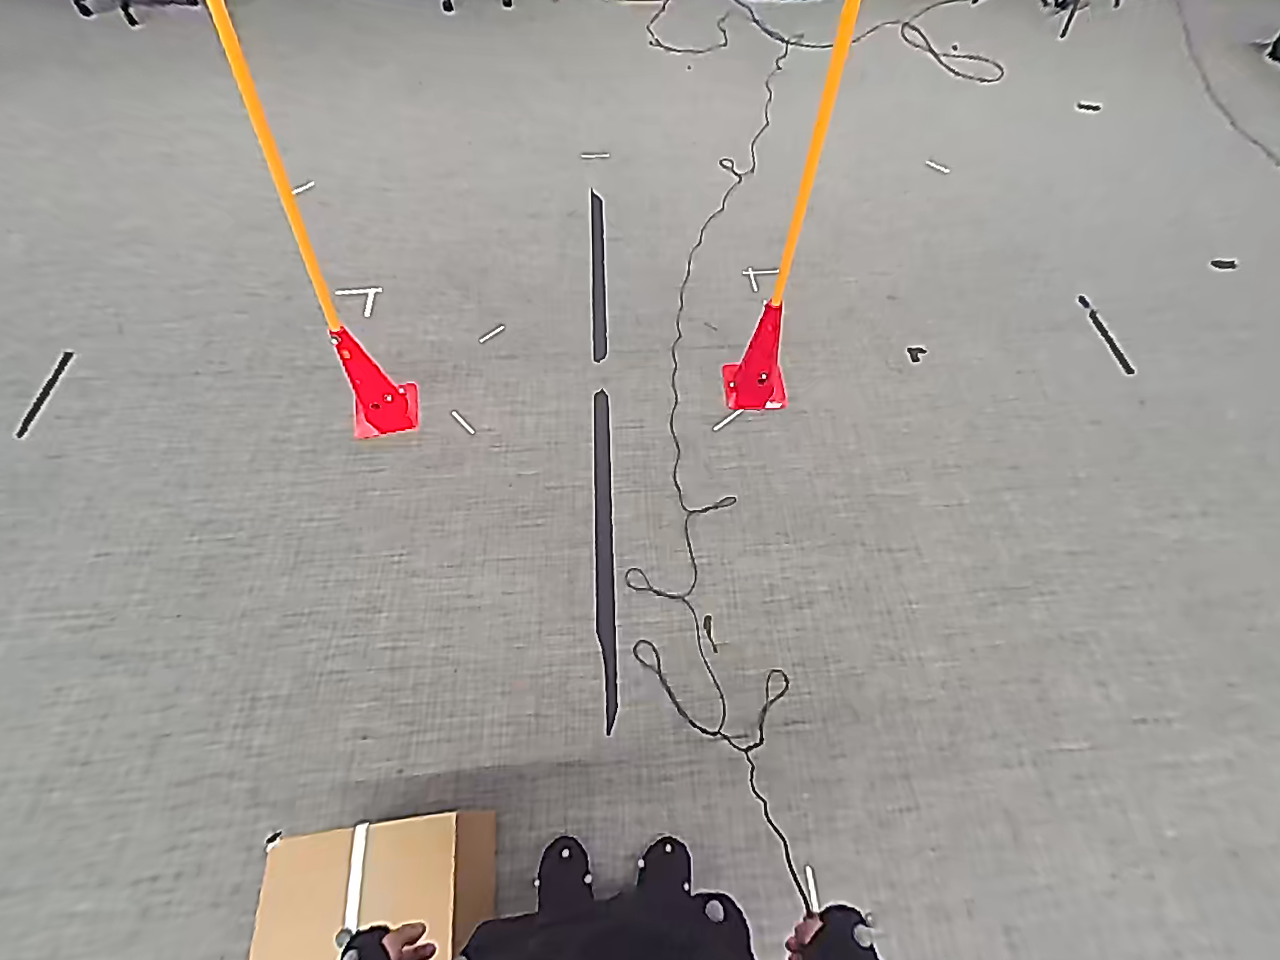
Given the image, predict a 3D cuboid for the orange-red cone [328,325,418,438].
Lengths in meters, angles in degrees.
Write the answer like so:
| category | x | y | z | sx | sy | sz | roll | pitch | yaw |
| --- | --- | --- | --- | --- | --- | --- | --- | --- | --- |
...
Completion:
| category | x | y | z | sx | sy | sz | roll | pitch | yaw |
| --- | --- | --- | --- | --- | --- | --- | --- | --- | --- |
| orange-red cone | -0.824 | -0.313 | 1.603 | 0.199 | 0.360 | 0.198 | -11 | 59 | -6 |
